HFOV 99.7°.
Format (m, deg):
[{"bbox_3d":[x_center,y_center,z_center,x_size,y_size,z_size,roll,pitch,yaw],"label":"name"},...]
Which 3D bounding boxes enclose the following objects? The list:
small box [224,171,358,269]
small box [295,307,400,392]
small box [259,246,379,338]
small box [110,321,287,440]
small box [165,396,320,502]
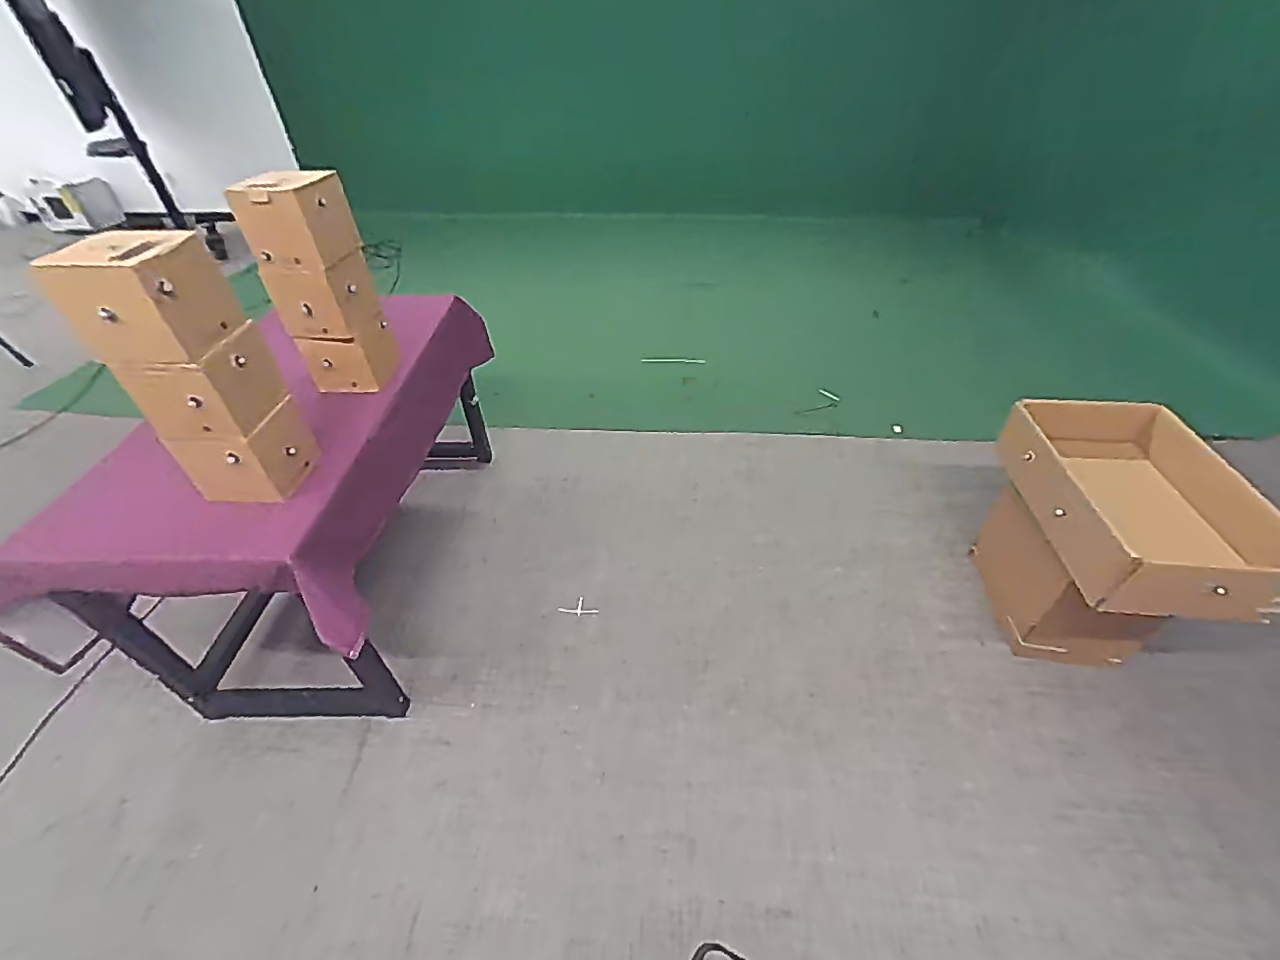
[{"bbox_3d":[-0.787,-0.596,1.245,0.168,0.176,0.179,3,41,6],"label":"small box"},{"bbox_3d":[-0.779,-0.350,1.463,0.168,0.176,0.179,0,42,3],"label":"small box"},{"bbox_3d":[-0.784,-0.467,1.348,0.168,0.176,0.179,3,43,5],"label":"small box"},{"bbox_3d":[-0.829,-0.190,1.042,0.168,0.176,0.179,1,42,2],"label":"small box"},{"bbox_3d":[-0.824,-0.066,1.147,0.179,0.176,0.168,1,42,4],"label":"small box"}]
